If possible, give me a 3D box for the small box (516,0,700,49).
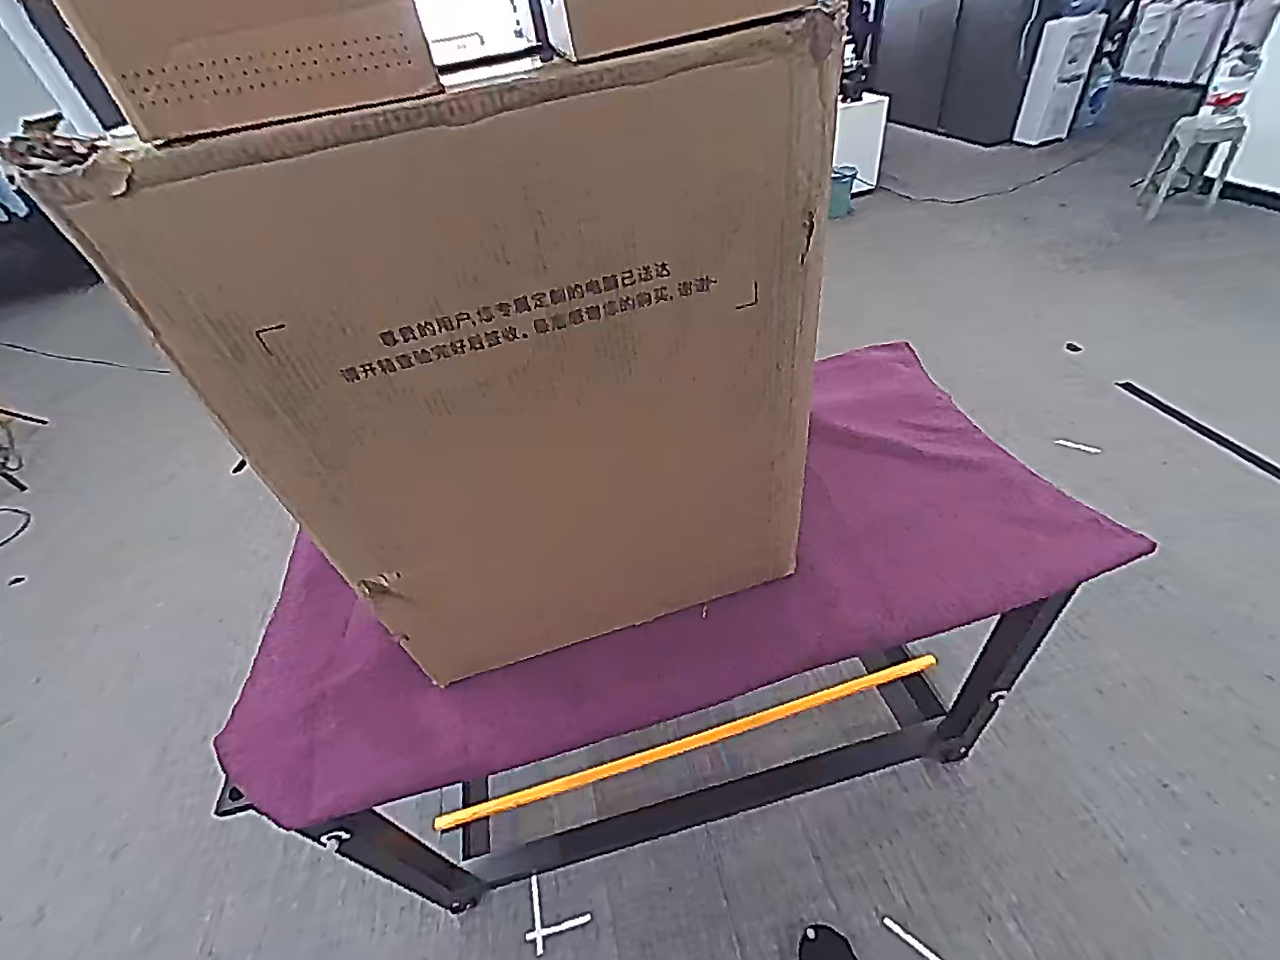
[{"bbox_3d":[-0.048,-0.532,0.517,0.168,0.176,0.179,-15,42,-4],"label":"small box"}]
